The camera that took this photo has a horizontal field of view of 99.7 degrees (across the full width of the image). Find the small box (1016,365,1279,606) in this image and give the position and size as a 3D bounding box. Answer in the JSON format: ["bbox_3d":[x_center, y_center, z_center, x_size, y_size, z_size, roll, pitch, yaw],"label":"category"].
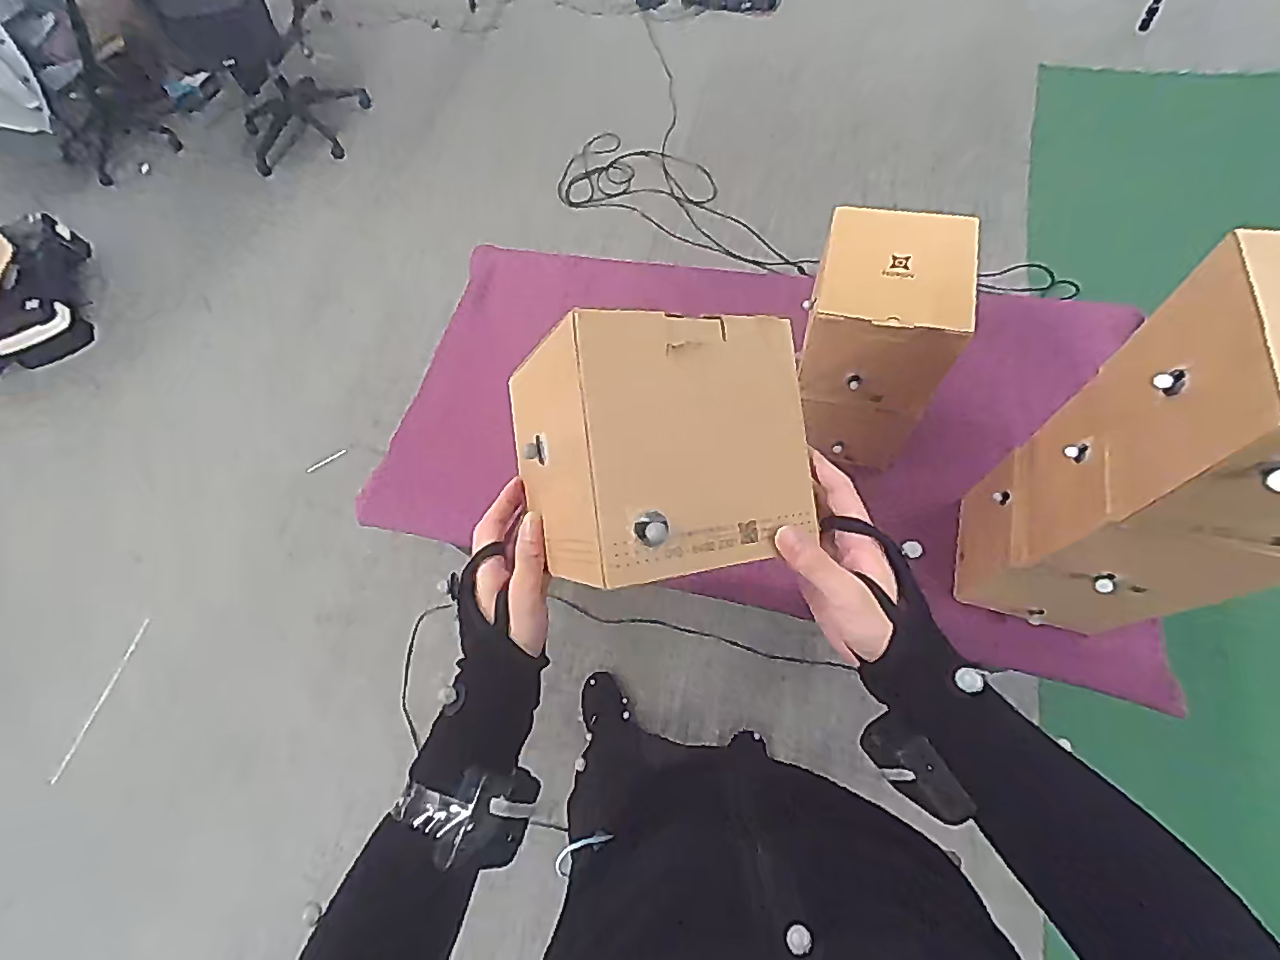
[{"bbox_3d":[0.524,0.012,0.565,0.168,0.176,0.179,14,68,15],"label":"small box"}]

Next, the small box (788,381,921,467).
[{"bbox_3d":[0.331,-0.146,0.841,0.168,0.176,0.179,14,69,13],"label":"small box"}]

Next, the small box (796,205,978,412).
[{"bbox_3d":[0.306,-0.214,0.696,0.168,0.176,0.179,12,69,12],"label":"small box"}]

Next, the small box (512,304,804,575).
[{"bbox_3d":[0.006,-0.023,0.423,0.168,0.179,0.176,-5,87,-26],"label":"small box"}]

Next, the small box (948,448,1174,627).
[{"bbox_3d":[0.539,0.084,0.712,0.179,0.176,0.168,14,67,14],"label":"small box"}]
